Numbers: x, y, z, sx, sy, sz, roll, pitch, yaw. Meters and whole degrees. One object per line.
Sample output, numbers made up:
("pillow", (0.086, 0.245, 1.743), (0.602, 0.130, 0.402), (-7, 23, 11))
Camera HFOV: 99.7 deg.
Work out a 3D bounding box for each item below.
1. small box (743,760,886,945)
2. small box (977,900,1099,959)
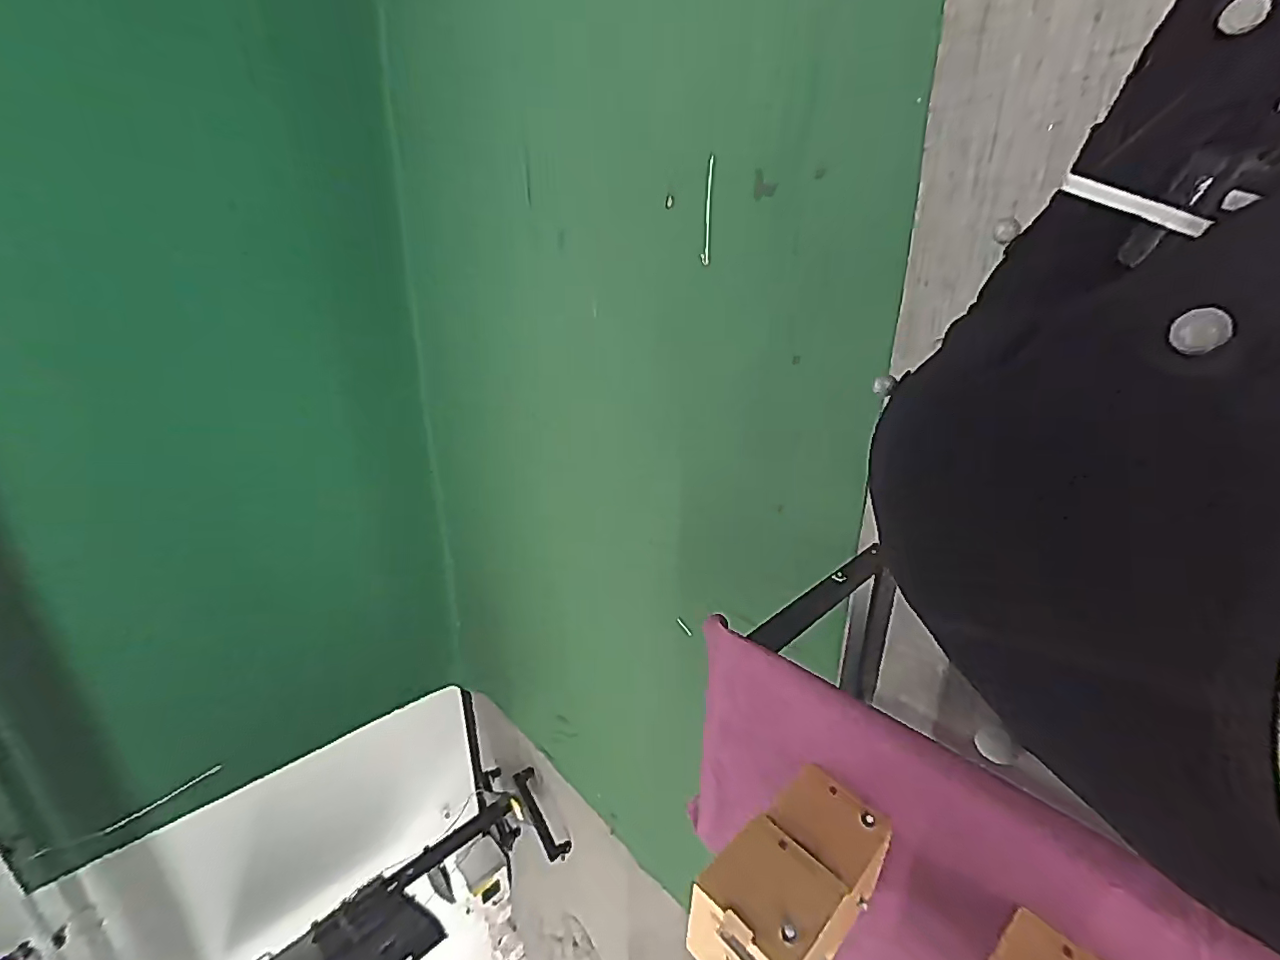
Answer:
("small box", (0.311, 0.648, 0.962), (0.168, 0.176, 0.179), (28, 124, 41))
("small box", (0.549, 0.736, 0.733), (0.168, 0.176, 0.179), (26, 122, 40))
